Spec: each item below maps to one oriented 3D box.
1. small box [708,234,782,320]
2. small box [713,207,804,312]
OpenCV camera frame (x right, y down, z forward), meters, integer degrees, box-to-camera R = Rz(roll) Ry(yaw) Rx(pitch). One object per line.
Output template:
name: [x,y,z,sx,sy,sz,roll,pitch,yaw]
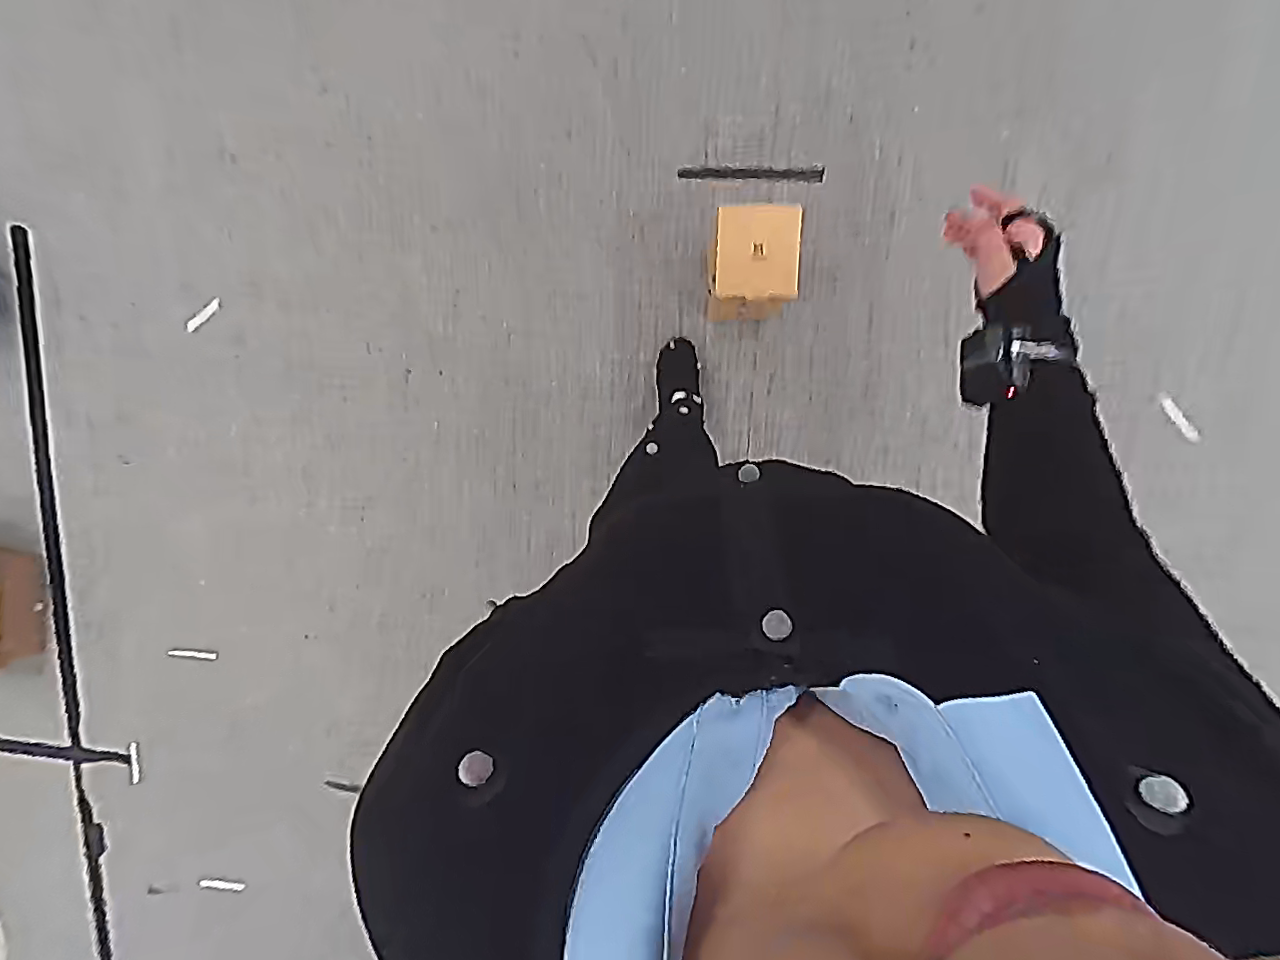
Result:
small box: [0.255,-0.485,1.313,0.168,0.176,0.179,0,98,4]
small box: [0.244,-0.462,1.152,0.168,0.176,0.179,1,99,4]
